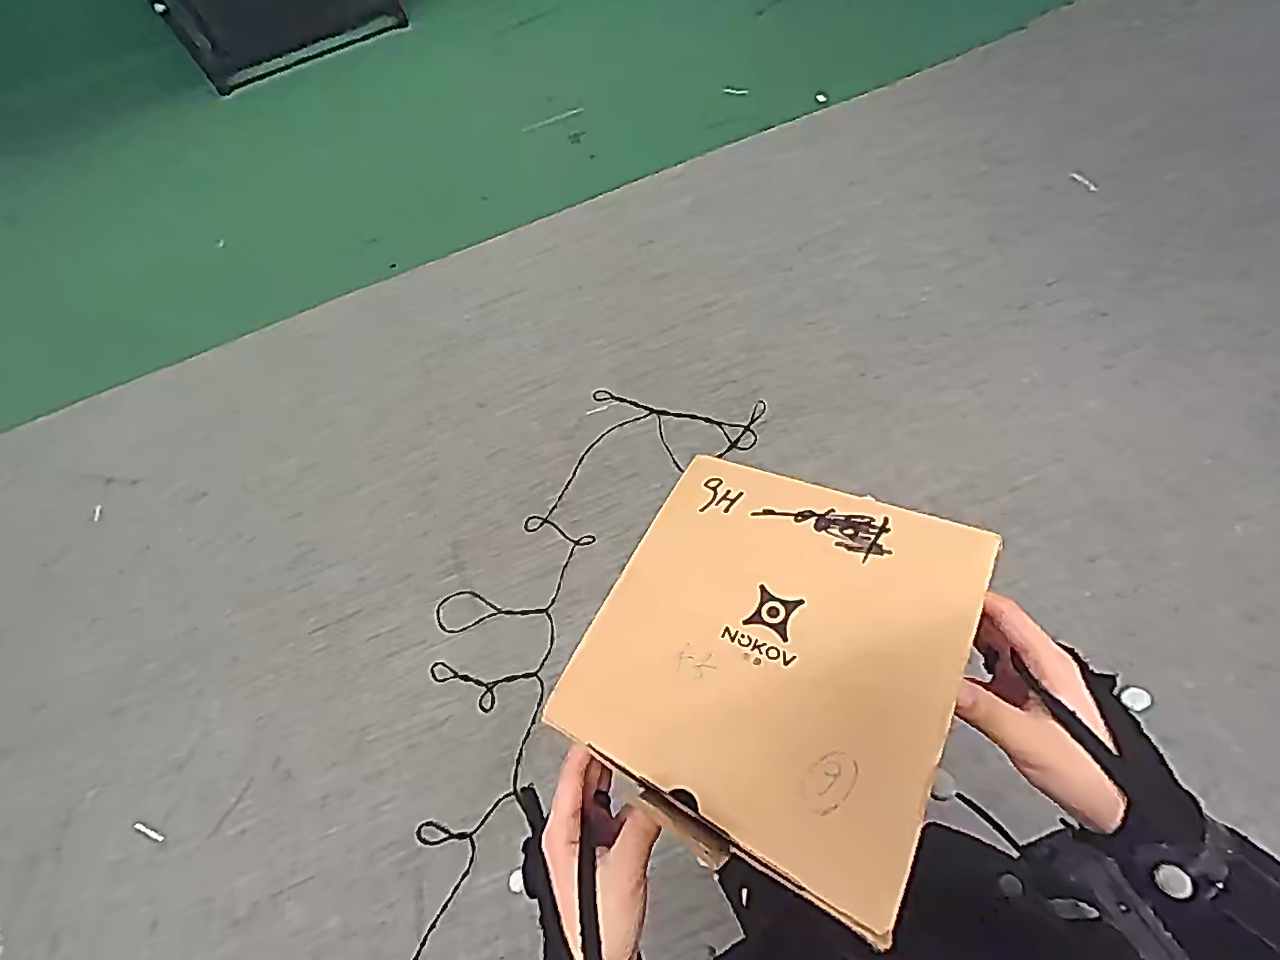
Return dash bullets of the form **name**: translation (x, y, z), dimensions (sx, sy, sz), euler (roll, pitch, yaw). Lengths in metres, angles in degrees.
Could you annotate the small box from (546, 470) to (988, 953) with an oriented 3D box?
- **small box**: translation (0.082, 0.127, 0.325), dimensions (0.168, 0.176, 0.179), euler (18, 63, 30)
